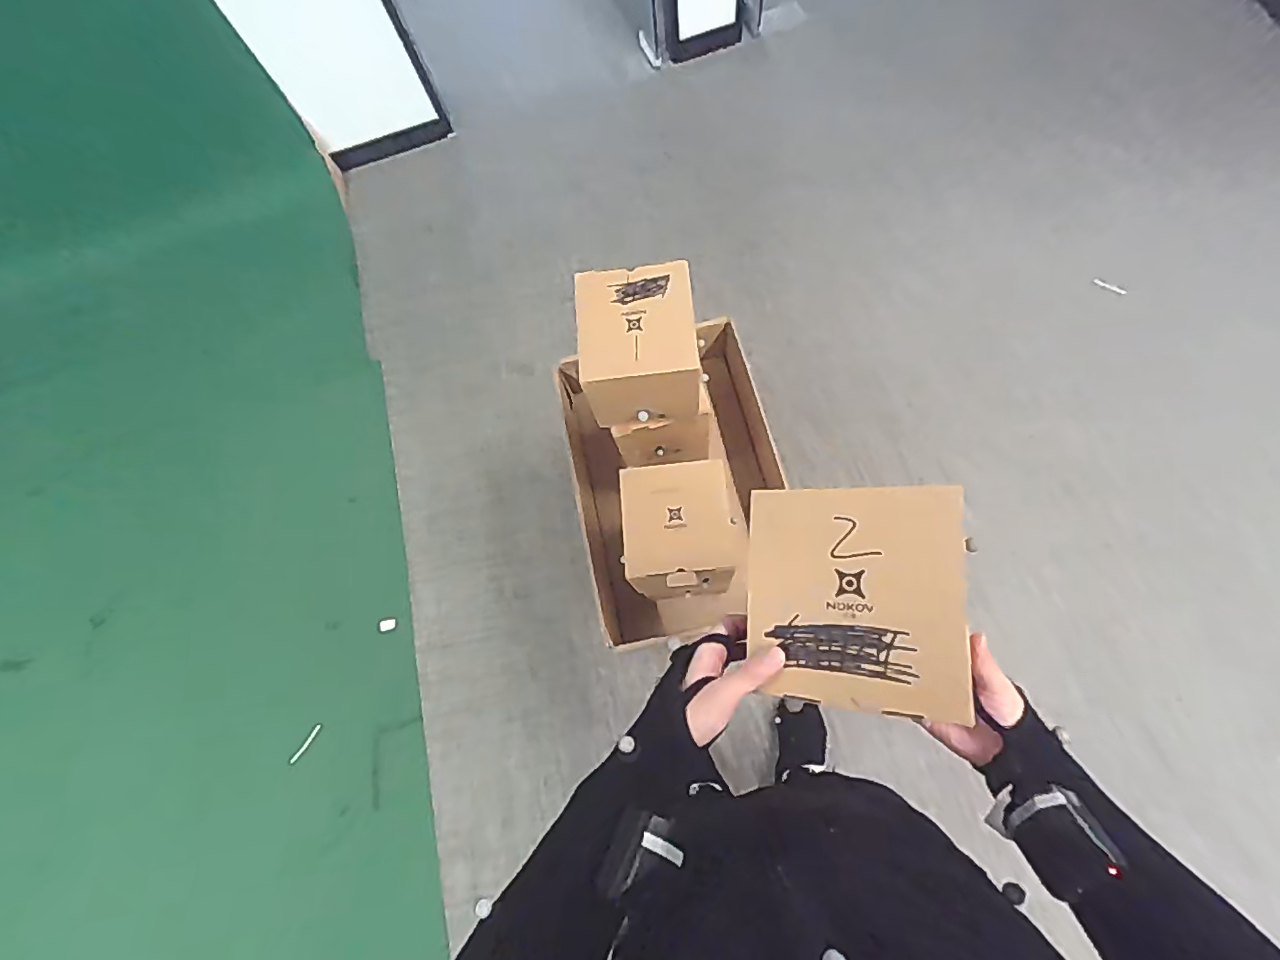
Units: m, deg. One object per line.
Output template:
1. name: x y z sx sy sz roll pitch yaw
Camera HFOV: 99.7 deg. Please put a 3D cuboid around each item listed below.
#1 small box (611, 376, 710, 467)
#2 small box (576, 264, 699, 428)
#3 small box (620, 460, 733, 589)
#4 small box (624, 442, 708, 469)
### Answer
1. small box: 0.024 -0.145 0.981 0.168 0.176 0.179 -15 72 2
2. small box: -0.001 -0.197 0.827 0.168 0.176 0.179 -6 73 5
3. small box: 0.062 0.083 0.895 0.168 0.176 0.179 -5 70 5
4. small box: 0.042 -0.098 1.135 0.168 0.176 0.179 -15 72 3
